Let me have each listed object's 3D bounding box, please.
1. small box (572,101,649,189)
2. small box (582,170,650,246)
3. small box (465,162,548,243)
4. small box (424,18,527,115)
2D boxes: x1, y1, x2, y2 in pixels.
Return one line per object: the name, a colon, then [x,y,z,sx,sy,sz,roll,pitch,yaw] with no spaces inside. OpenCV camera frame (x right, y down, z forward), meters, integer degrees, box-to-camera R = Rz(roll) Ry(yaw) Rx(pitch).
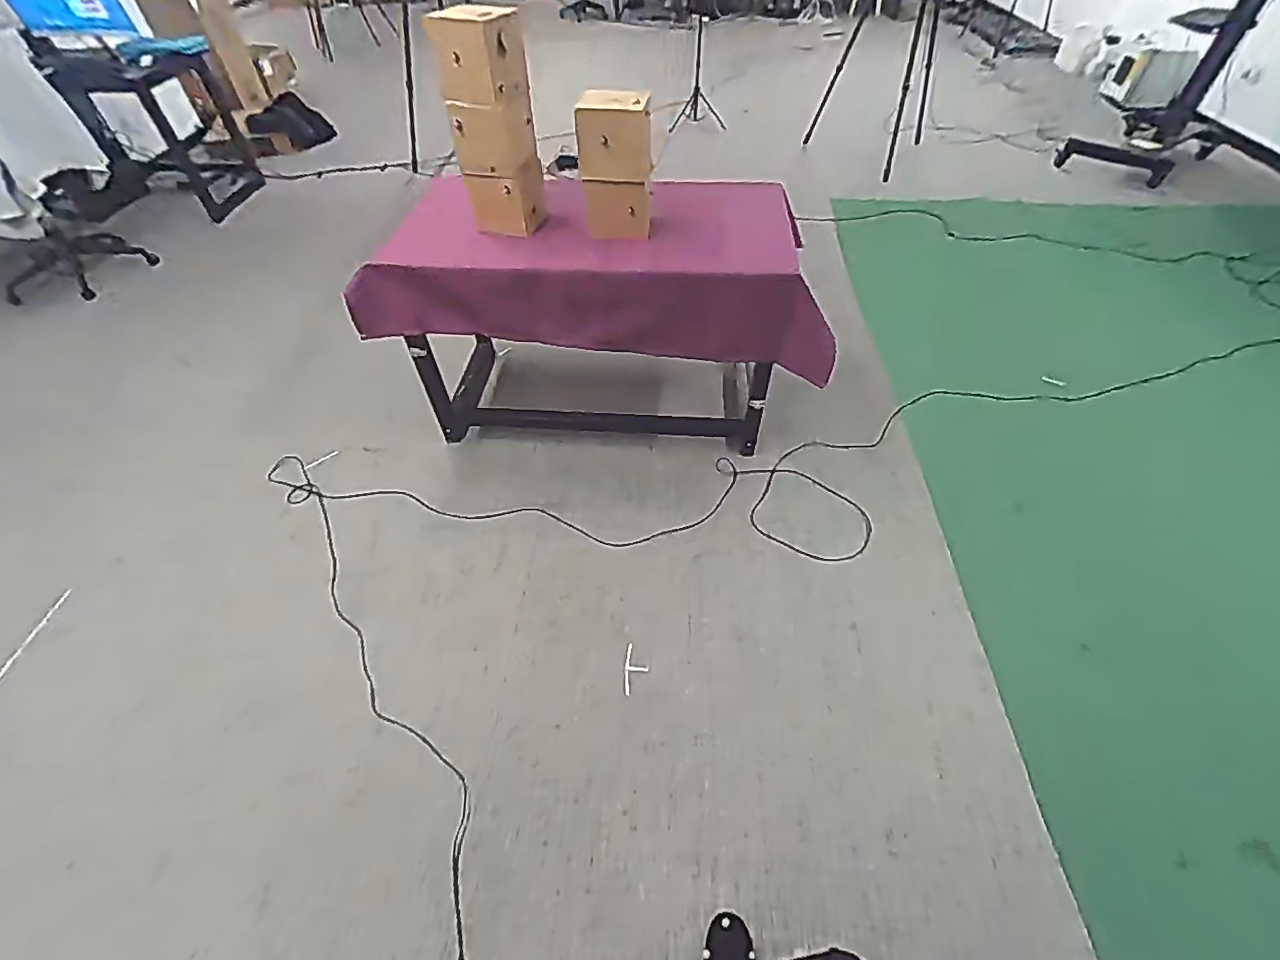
small box: [-0.073,-0.912,1.473,0.179,0.176,0.168,6,49,7]
small box: [-0.066,-0.809,1.600,0.179,0.176,0.168,4,48,5]
small box: [-0.396,-0.836,1.633,0.179,0.176,0.168,12,50,10]
small box: [-0.413,-1.065,1.396,0.179,0.176,0.168,17,50,16]
